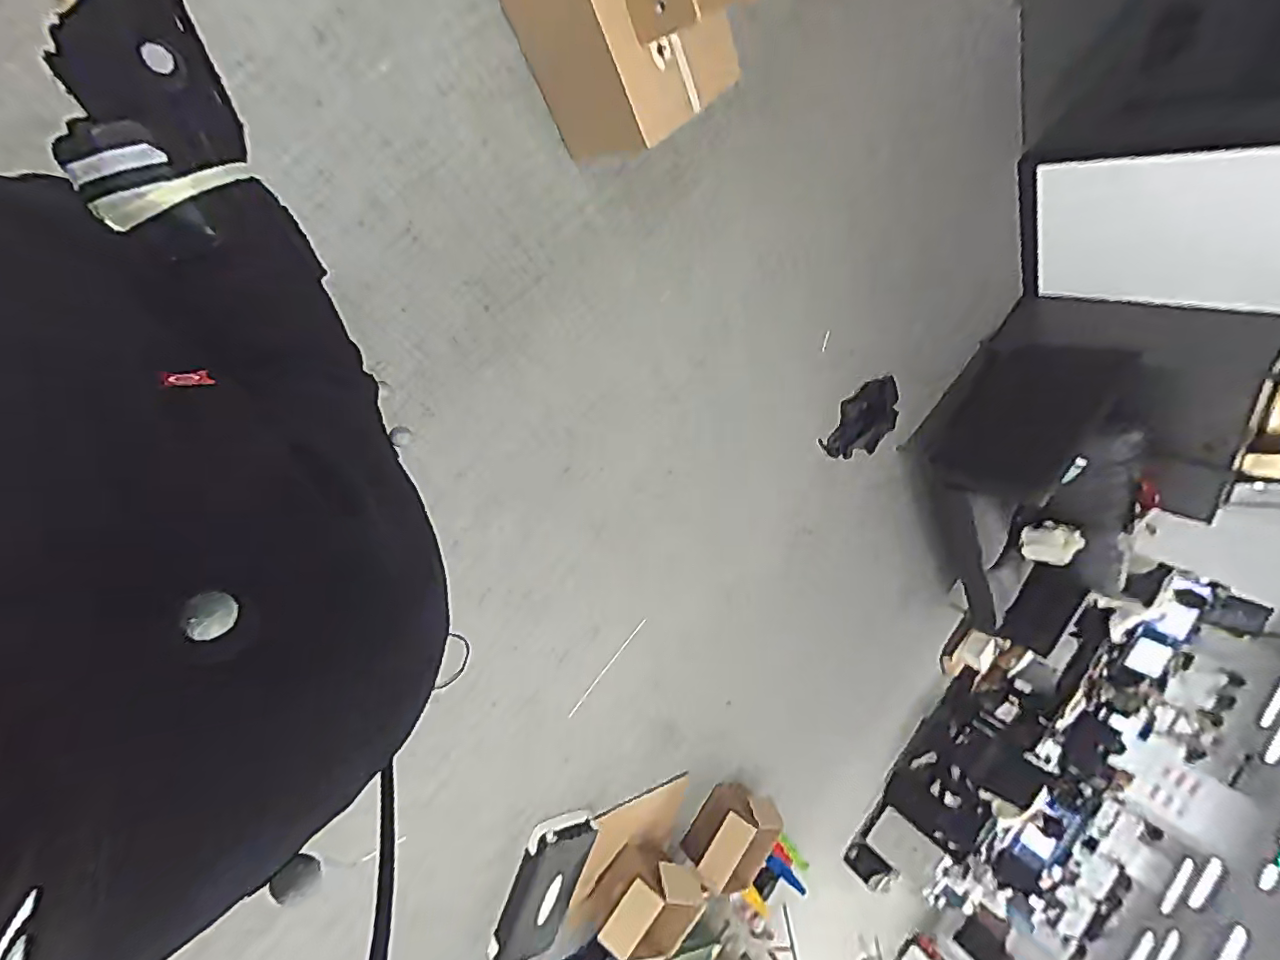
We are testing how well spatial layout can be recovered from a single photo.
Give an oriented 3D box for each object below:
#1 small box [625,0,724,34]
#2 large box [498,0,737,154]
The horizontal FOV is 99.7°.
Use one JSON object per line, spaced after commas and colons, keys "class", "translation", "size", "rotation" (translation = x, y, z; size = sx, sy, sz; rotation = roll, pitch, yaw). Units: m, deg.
{"class": "small box", "translation": [0.067, -0.926, 0.950], "size": [0.168, 0.176, 0.179], "rotation": [-45, 131, -15]}
{"class": "large box", "translation": [-0.056, -0.988, 1.153], "size": [0.320, 0.320, 0.408], "rotation": [-44, 133, -13]}
